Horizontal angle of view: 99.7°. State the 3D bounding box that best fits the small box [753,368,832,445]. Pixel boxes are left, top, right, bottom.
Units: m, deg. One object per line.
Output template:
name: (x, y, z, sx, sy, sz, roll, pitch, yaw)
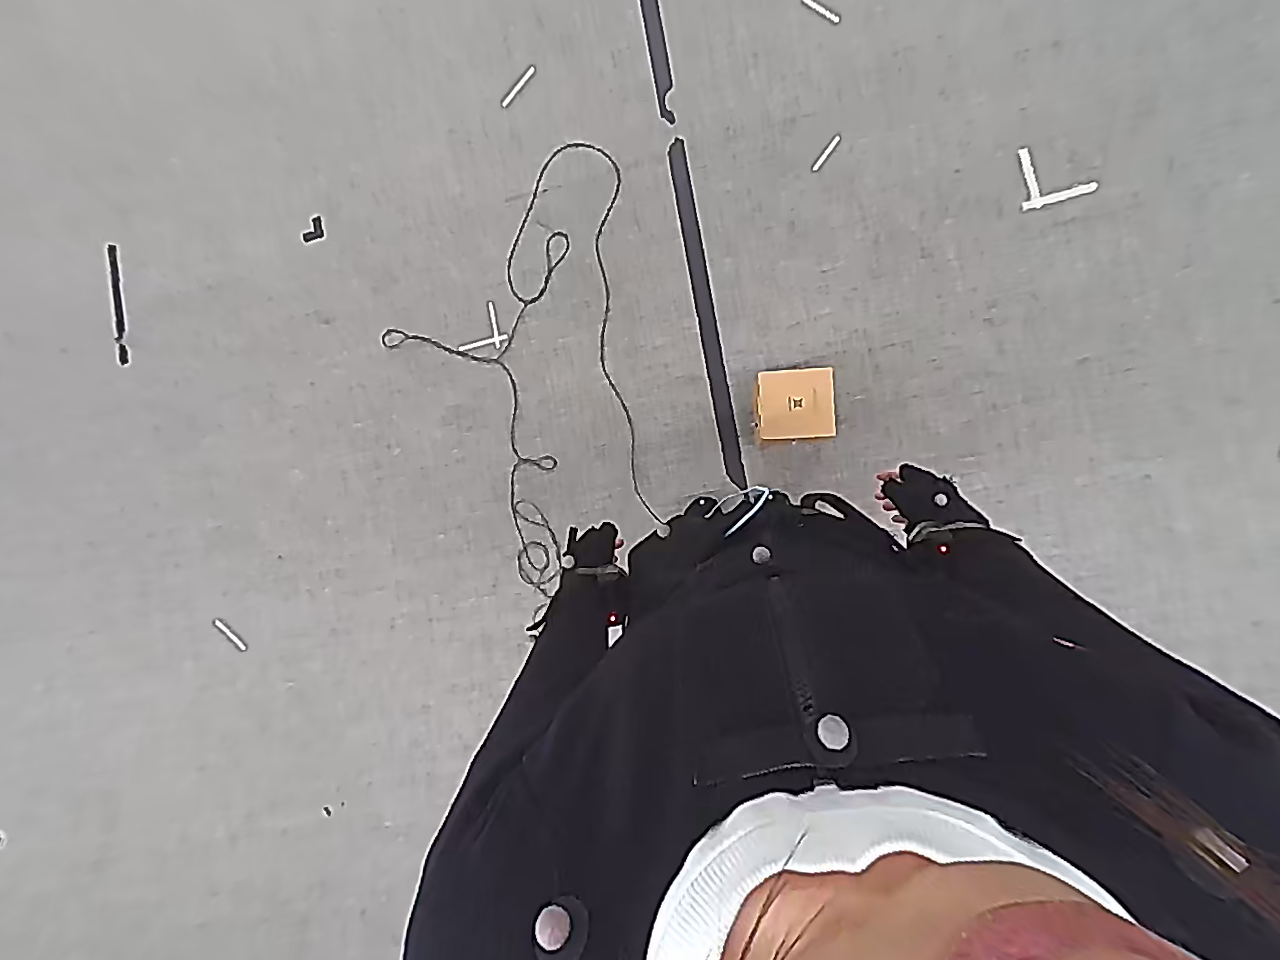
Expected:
small box: (0.381, -0.181, 1.380, 0.179, 0.176, 0.168, -2, 88, 8)
